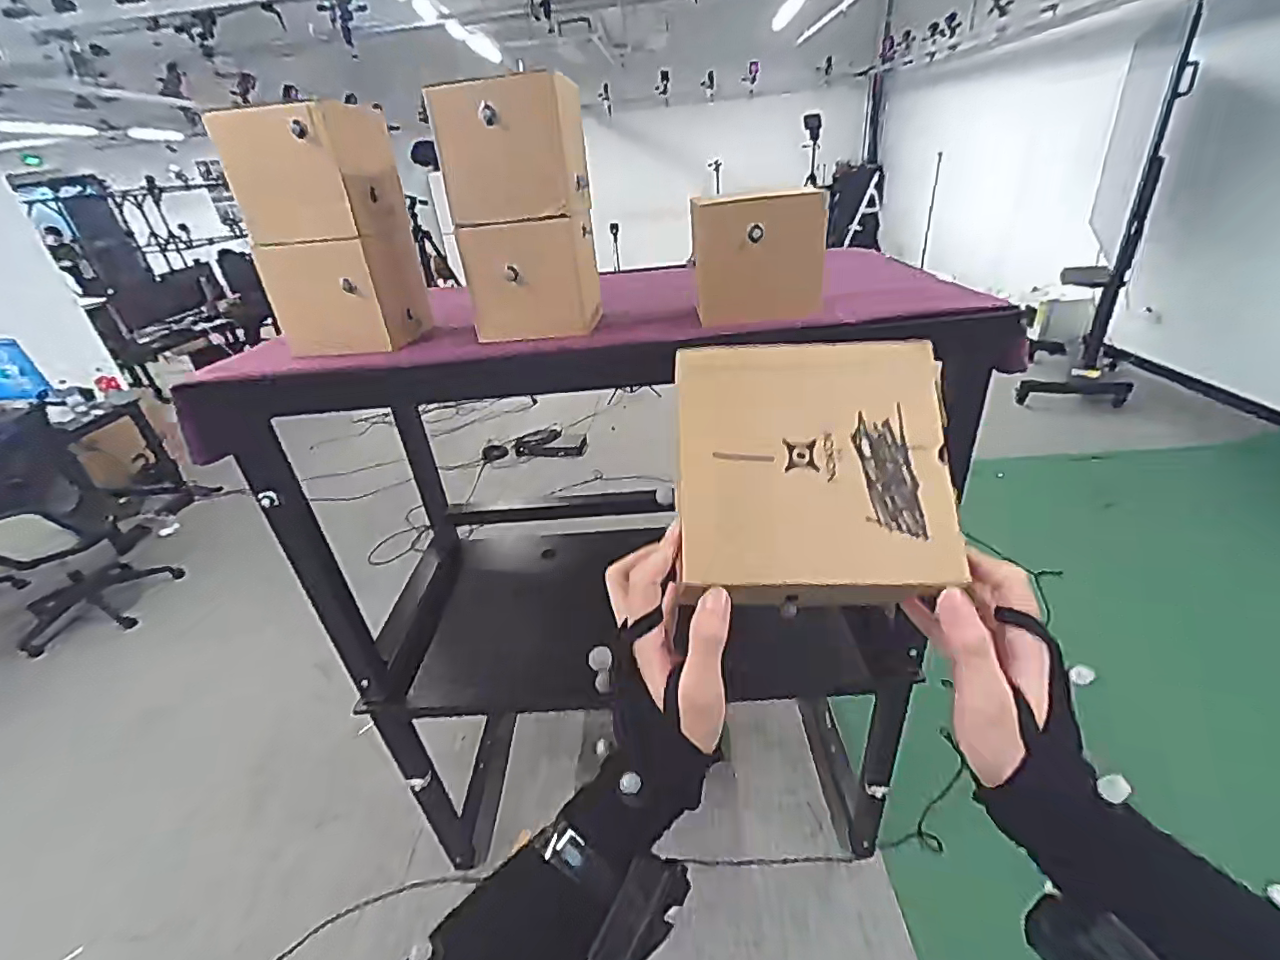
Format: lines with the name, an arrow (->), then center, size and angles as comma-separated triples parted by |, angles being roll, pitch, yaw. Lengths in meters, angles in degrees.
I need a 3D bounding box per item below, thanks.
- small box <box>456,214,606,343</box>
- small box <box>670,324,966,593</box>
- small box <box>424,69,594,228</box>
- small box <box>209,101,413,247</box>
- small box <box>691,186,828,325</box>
small box -> -0.160, -0.321, 0.857 | 0.179, 0.176, 0.168 | -3, 29, 7
small box -> 0.112, -0.004, 0.421 | 0.179, 0.176, 0.168 | 0, 73, 3
small box -> -0.173, -0.465, 0.779 | 0.179, 0.176, 0.168 | -1, 29, 8
small box -> -0.477, -0.451, 0.814 | 0.179, 0.176, 0.168 | -1, 29, 7
small box -> 0.174, -0.340, 0.822 | 0.179, 0.176, 0.168 | -5, 30, 4
